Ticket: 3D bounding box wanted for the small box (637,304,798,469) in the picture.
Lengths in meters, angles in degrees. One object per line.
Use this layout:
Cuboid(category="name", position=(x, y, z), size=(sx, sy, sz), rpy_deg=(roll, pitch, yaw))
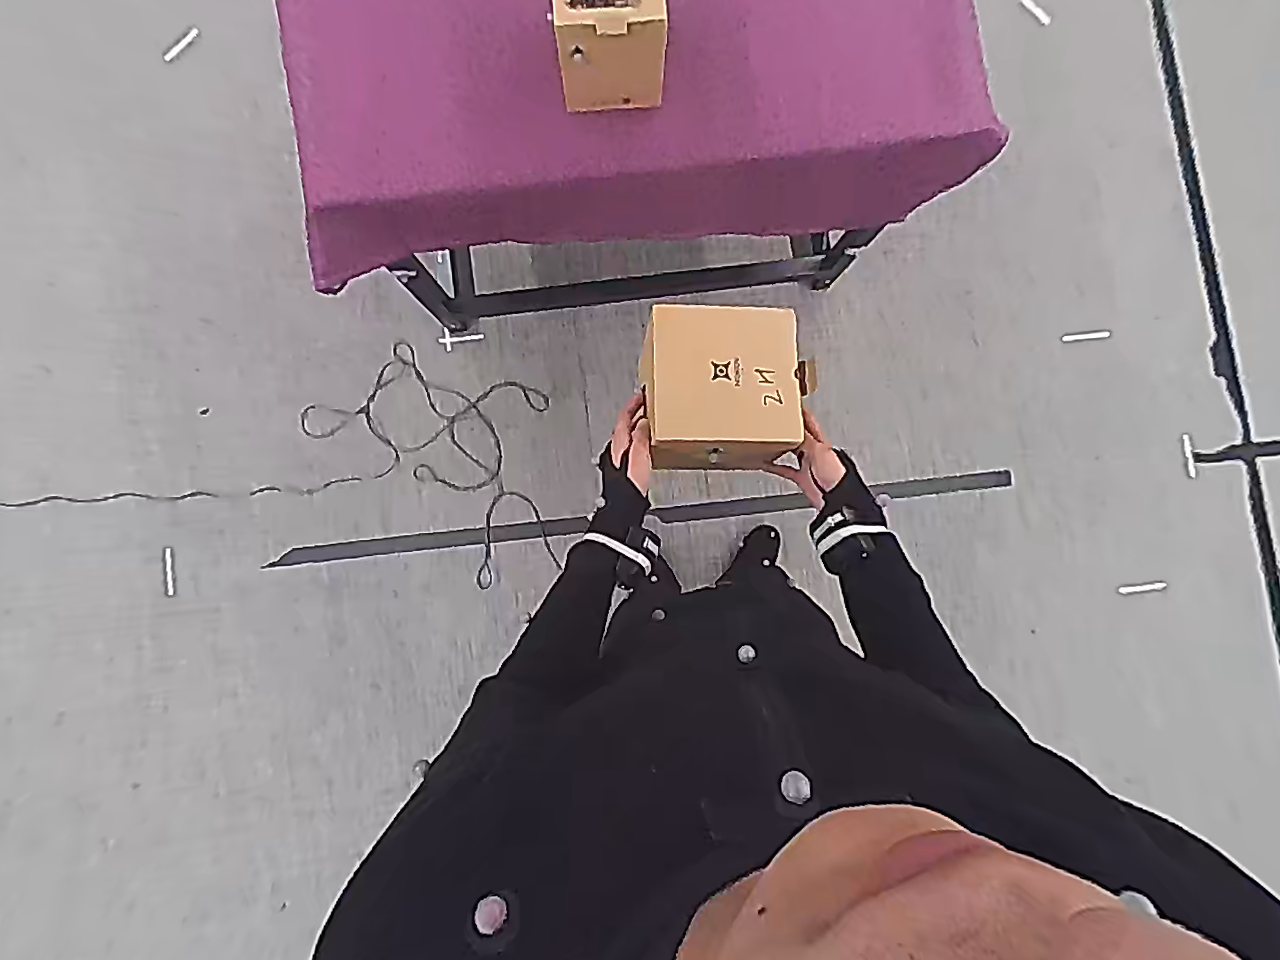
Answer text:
Cuboid(category="small box", position=(0.087, -0.111, 0.705), size=(0.179, 0.176, 0.168), rpy_deg=(1, 79, -6))
